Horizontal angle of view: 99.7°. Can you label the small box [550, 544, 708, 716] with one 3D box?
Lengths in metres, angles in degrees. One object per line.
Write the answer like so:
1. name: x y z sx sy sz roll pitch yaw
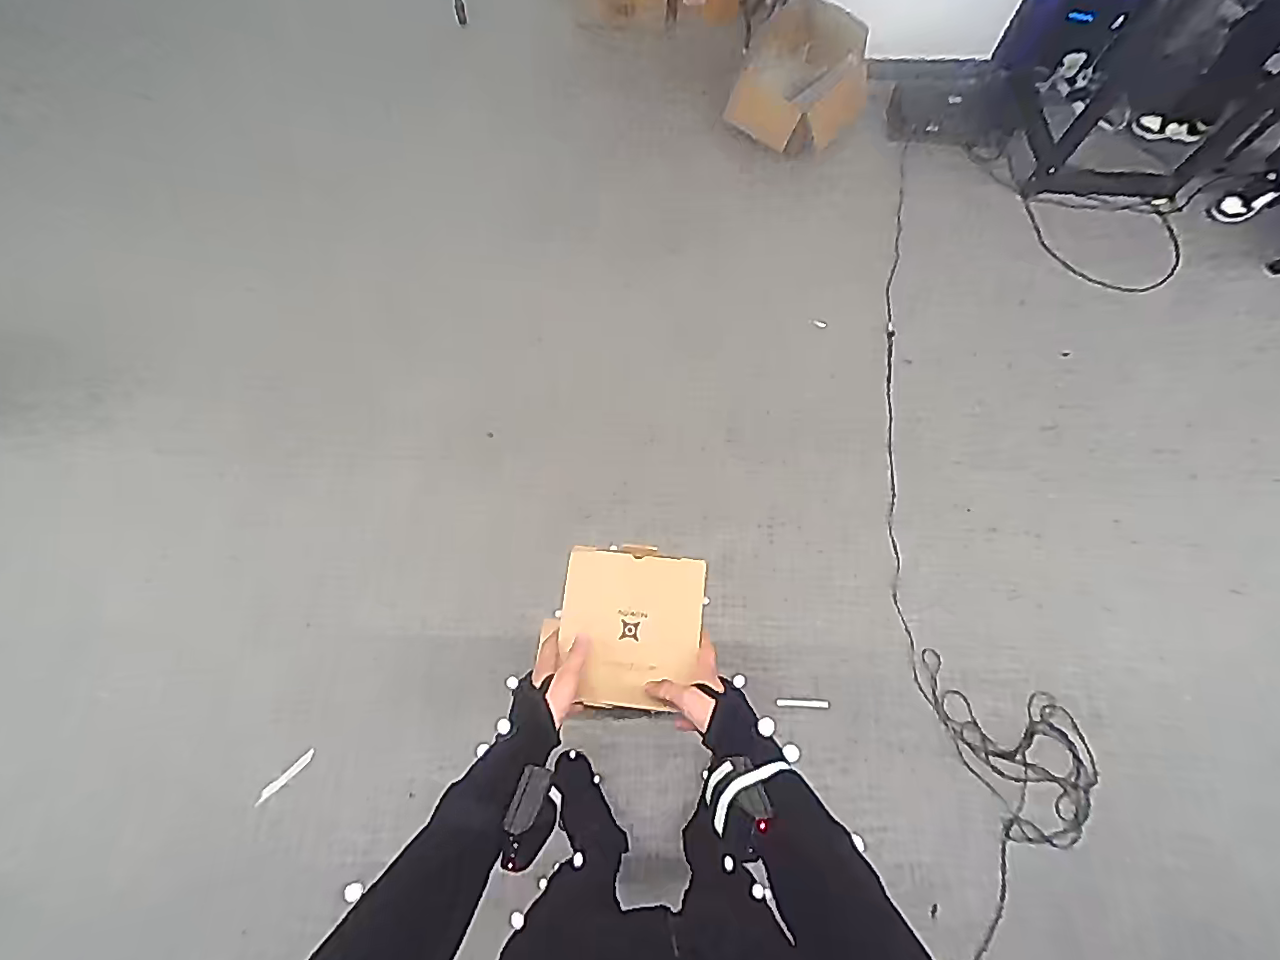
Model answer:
1. small box: -0.011 0.192 0.703 0.168 0.176 0.179 7 75 2
